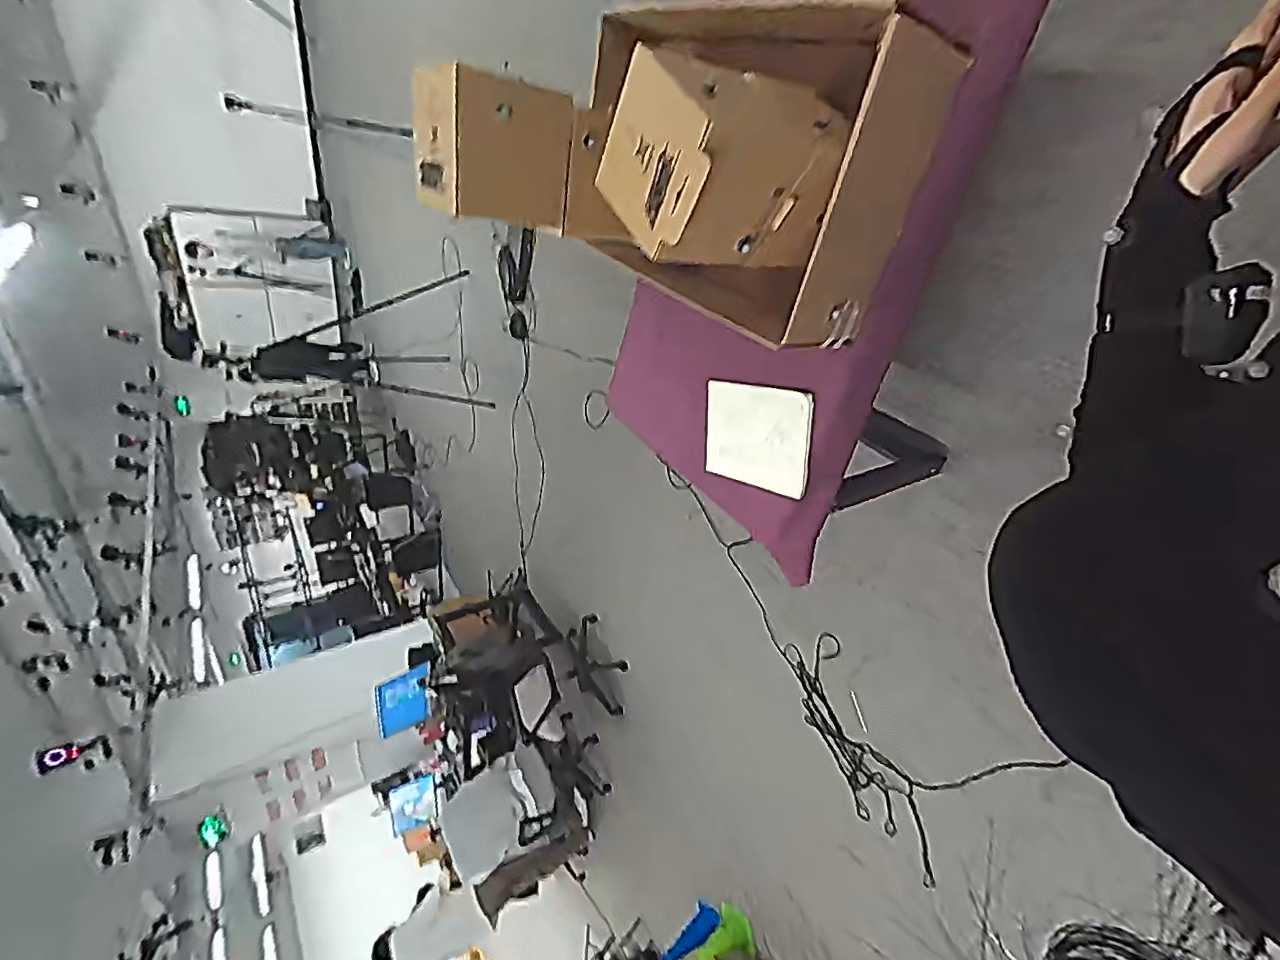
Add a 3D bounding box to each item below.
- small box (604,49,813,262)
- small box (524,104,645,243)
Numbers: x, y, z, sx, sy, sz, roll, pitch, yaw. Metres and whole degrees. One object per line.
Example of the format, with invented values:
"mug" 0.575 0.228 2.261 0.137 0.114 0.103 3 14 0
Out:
"small box" 0.083 -0.402 0.691 0.179 0.176 0.168 61 144 25
"small box" -0.078 -0.504 0.900 0.168 0.176 0.179 40 131 40
